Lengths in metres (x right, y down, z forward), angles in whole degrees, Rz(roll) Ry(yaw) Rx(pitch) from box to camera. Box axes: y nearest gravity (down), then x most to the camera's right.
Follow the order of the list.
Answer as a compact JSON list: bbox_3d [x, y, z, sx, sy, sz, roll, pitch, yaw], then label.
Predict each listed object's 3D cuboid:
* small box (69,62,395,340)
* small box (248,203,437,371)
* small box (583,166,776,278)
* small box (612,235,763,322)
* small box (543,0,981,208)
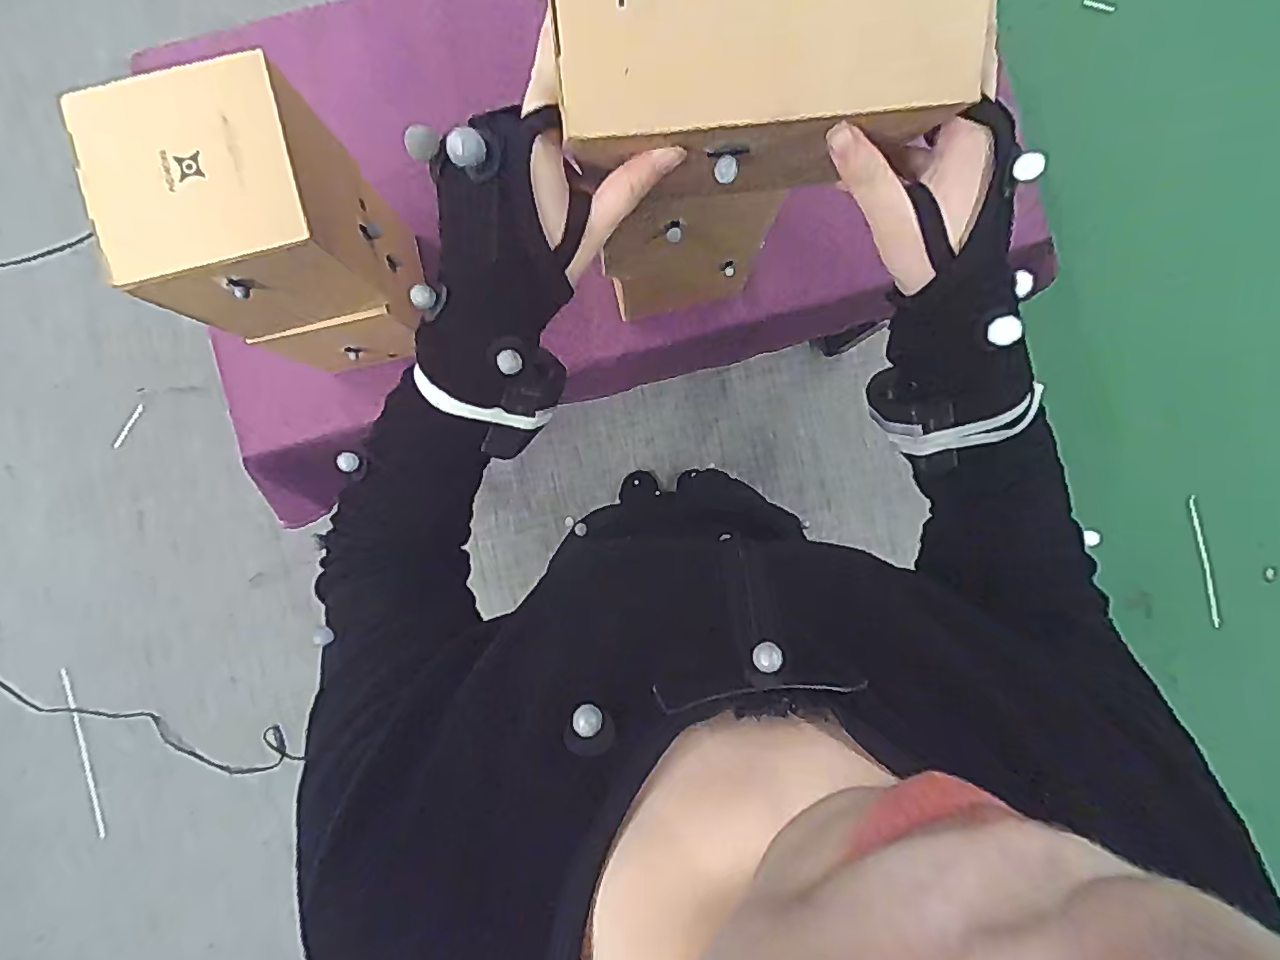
[{"bbox_3d":[-0.376,-0.251,0.531,0.179,0.176,0.168,-14,91,-1],"label":"small box"},{"bbox_3d":[-0.381,-0.247,0.695,0.168,0.176,0.179,-12,89,-1],"label":"small box"},{"bbox_3d":[0.034,-0.316,0.532,0.179,0.176,0.168,-9,89,0],"label":"small box"},{"bbox_3d":[0.041,-0.320,0.697,0.179,0.176,0.168,-14,89,0],"label":"small box"},{"bbox_3d":[0.047,-0.250,0.281,0.179,0.176,0.168,-5,107,2],"label":"small box"}]
